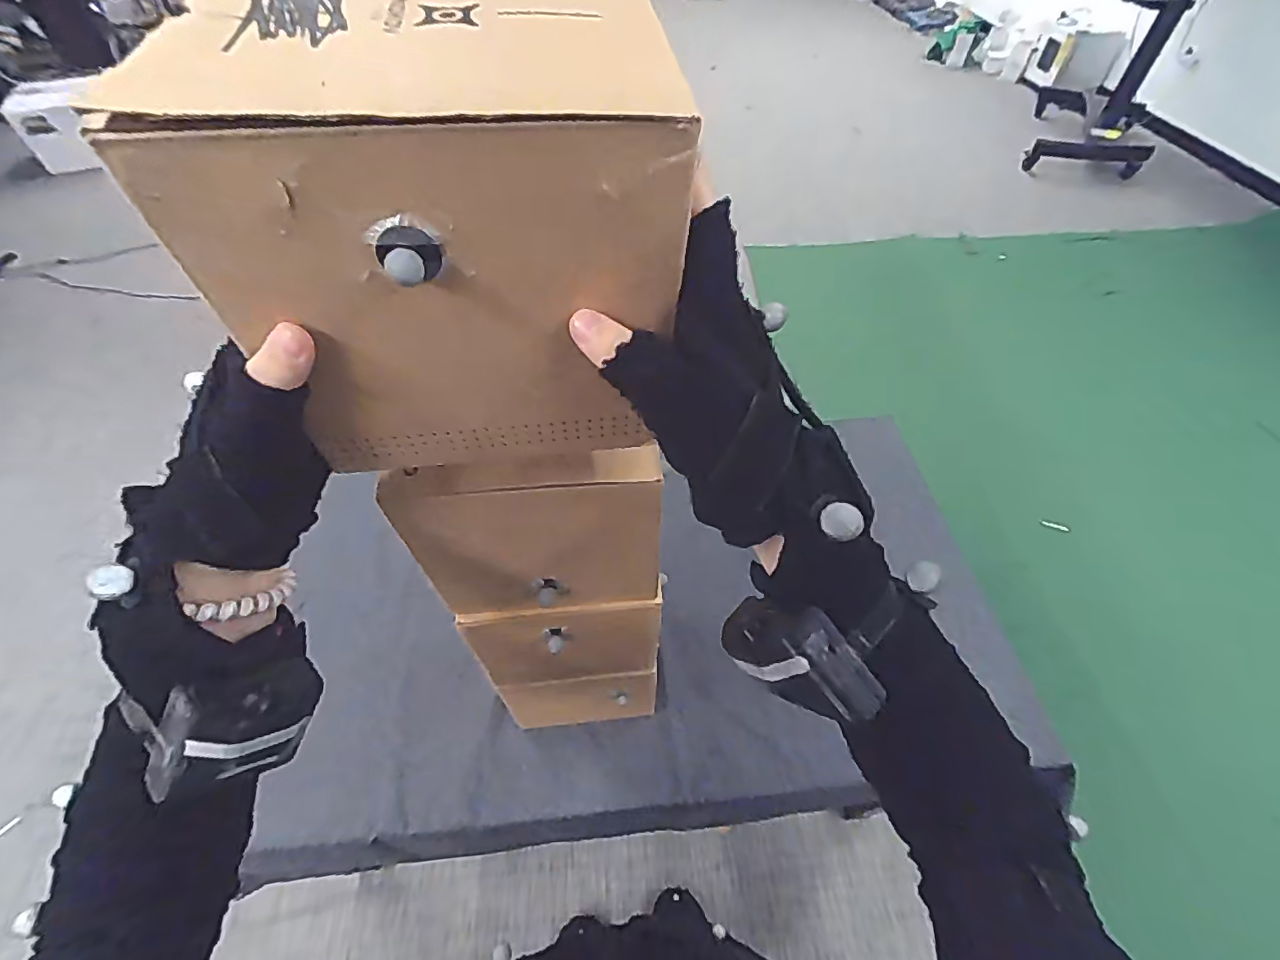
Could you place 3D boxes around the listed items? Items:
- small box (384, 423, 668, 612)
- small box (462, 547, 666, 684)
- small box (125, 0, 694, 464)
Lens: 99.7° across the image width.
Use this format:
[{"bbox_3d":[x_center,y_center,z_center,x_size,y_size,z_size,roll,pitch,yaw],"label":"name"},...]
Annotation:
[{"bbox_3d":[-0.075,-0.005,0.443,0.179,0.176,0.168,-3,51,-3],"label":"small box"},{"bbox_3d":[-0.072,0.101,0.570,0.179,0.176,0.168,-5,52,-3],"label":"small box"},{"bbox_3d":[-0.079,-0.122,0.276,0.179,0.176,0.168,-5,56,-6],"label":"small box"}]
